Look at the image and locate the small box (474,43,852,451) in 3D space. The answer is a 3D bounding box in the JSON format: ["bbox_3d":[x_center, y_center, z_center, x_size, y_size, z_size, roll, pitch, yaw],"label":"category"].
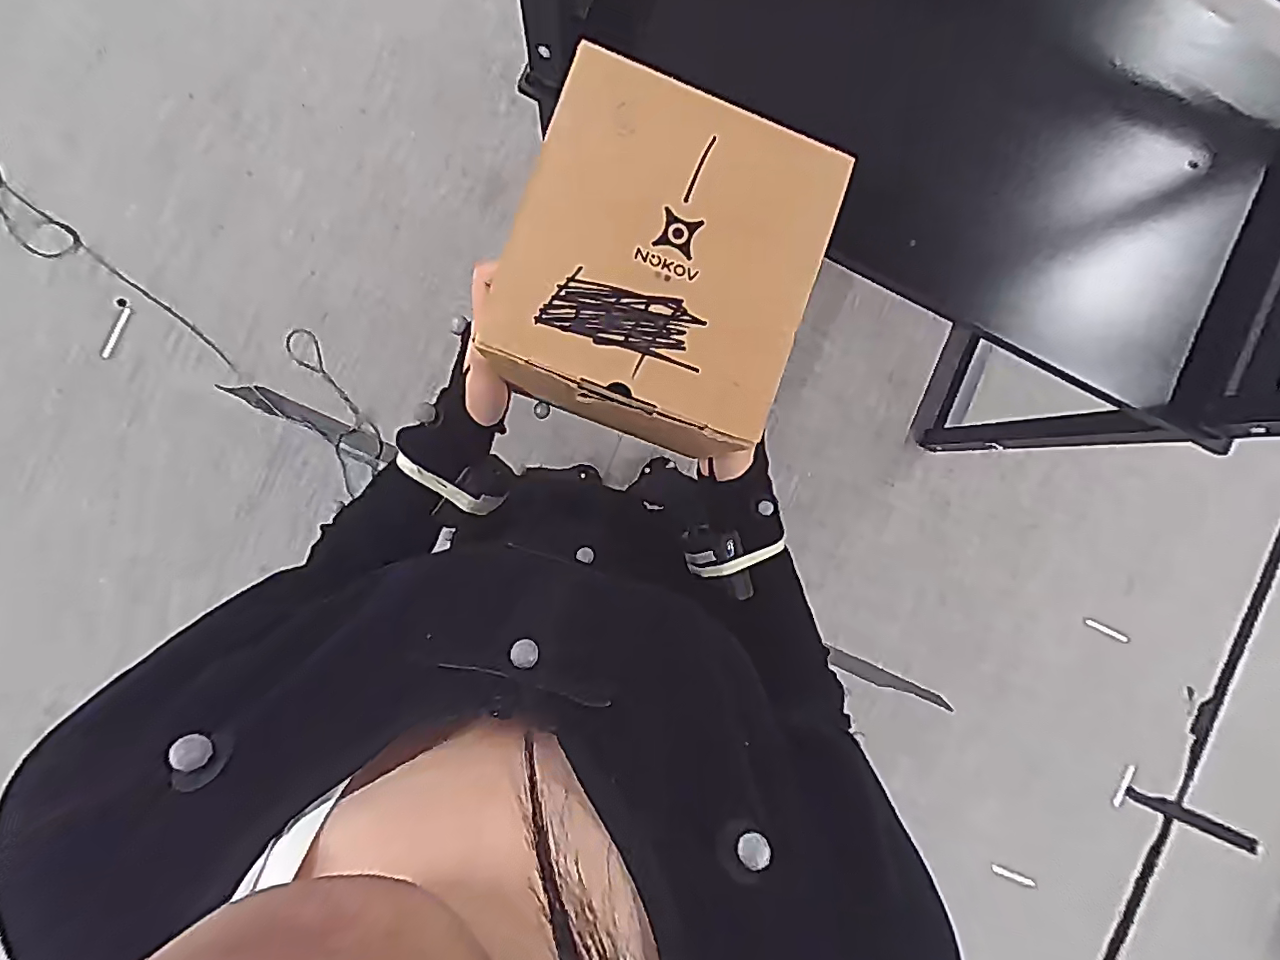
[{"bbox_3d":[0.008,-0.126,0.373,0.168,0.176,0.179,20,88,-6],"label":"small box"}]
